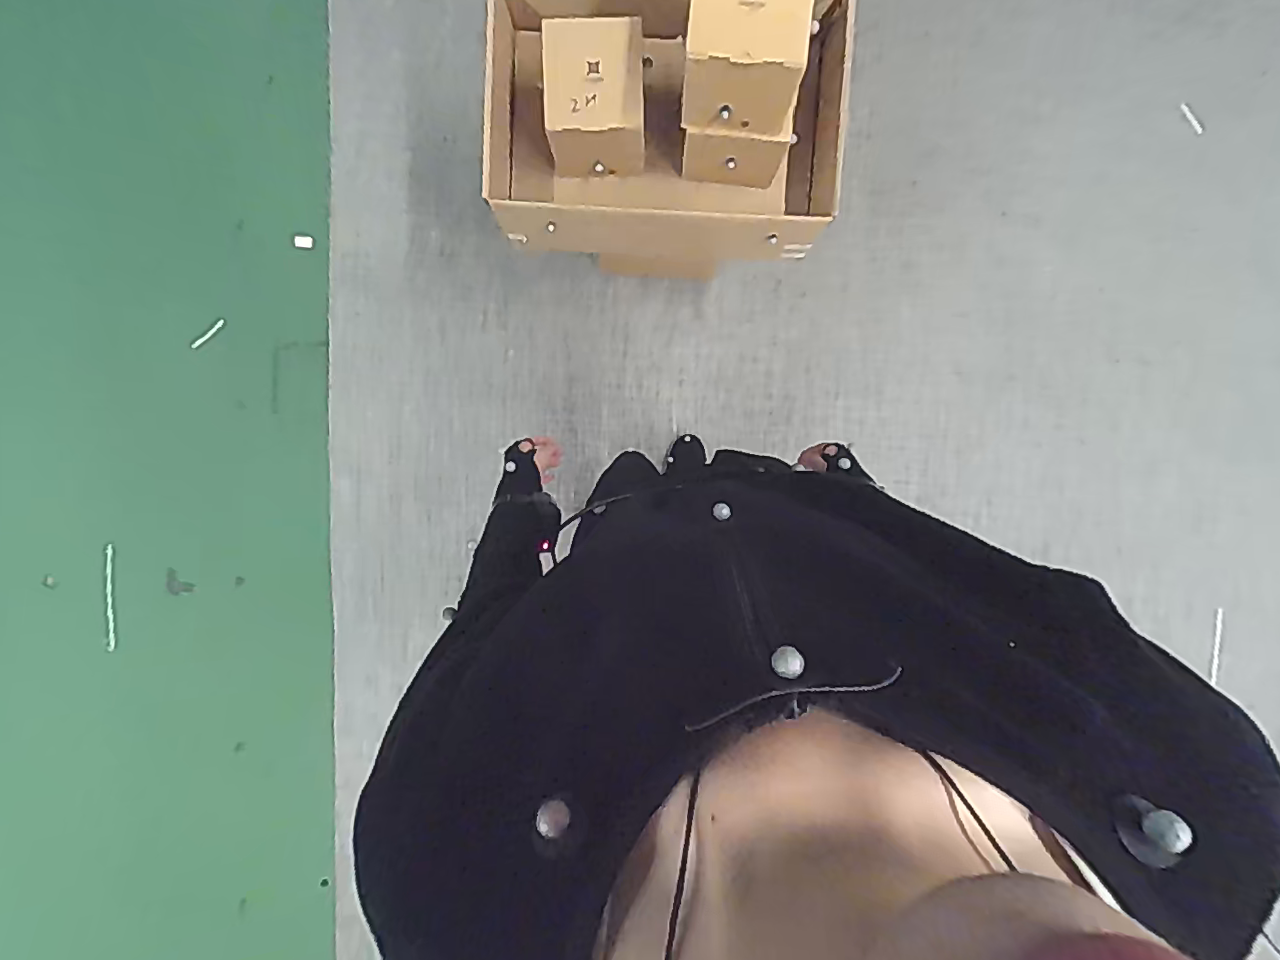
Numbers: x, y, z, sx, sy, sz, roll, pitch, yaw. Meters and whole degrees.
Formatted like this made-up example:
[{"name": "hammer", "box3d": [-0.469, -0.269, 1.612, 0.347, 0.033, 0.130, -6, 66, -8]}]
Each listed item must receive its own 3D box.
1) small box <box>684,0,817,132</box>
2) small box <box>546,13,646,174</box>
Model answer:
[{"name": "small box", "box3d": [0.156, -0.657, 0.796, 0.168, 0.176, 0.179, 6, 94, 2]}, {"name": "small box", "box3d": [-0.072, -0.675, 0.960, 0.168, 0.176, 0.179, 0, 94, 1]}]
